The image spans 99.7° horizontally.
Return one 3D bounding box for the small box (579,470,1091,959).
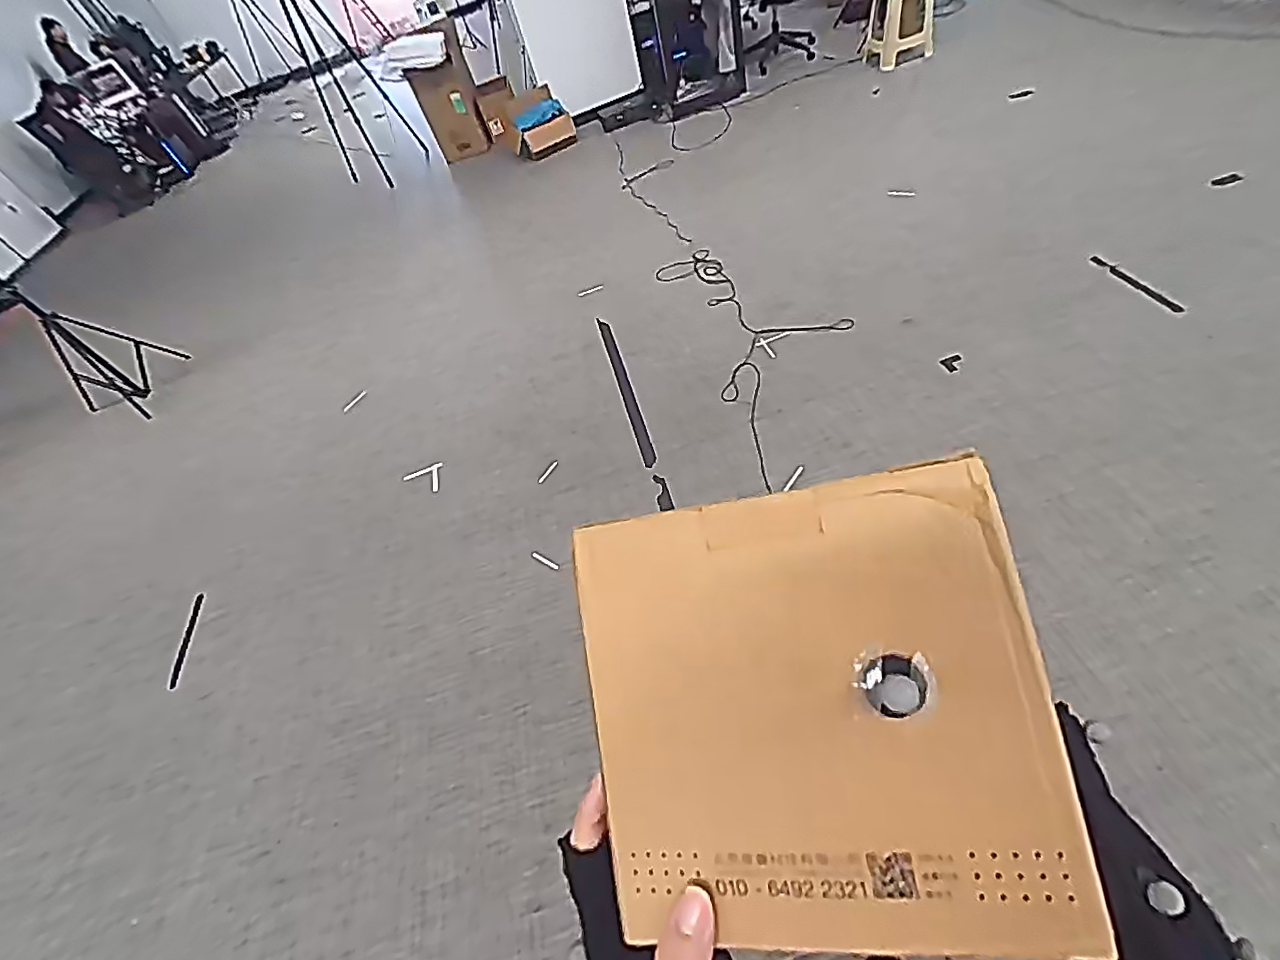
[{"bbox_3d":[0.088,0.101,0.284,0.168,0.179,0.176,-12,81,17],"label":"small box"}]
